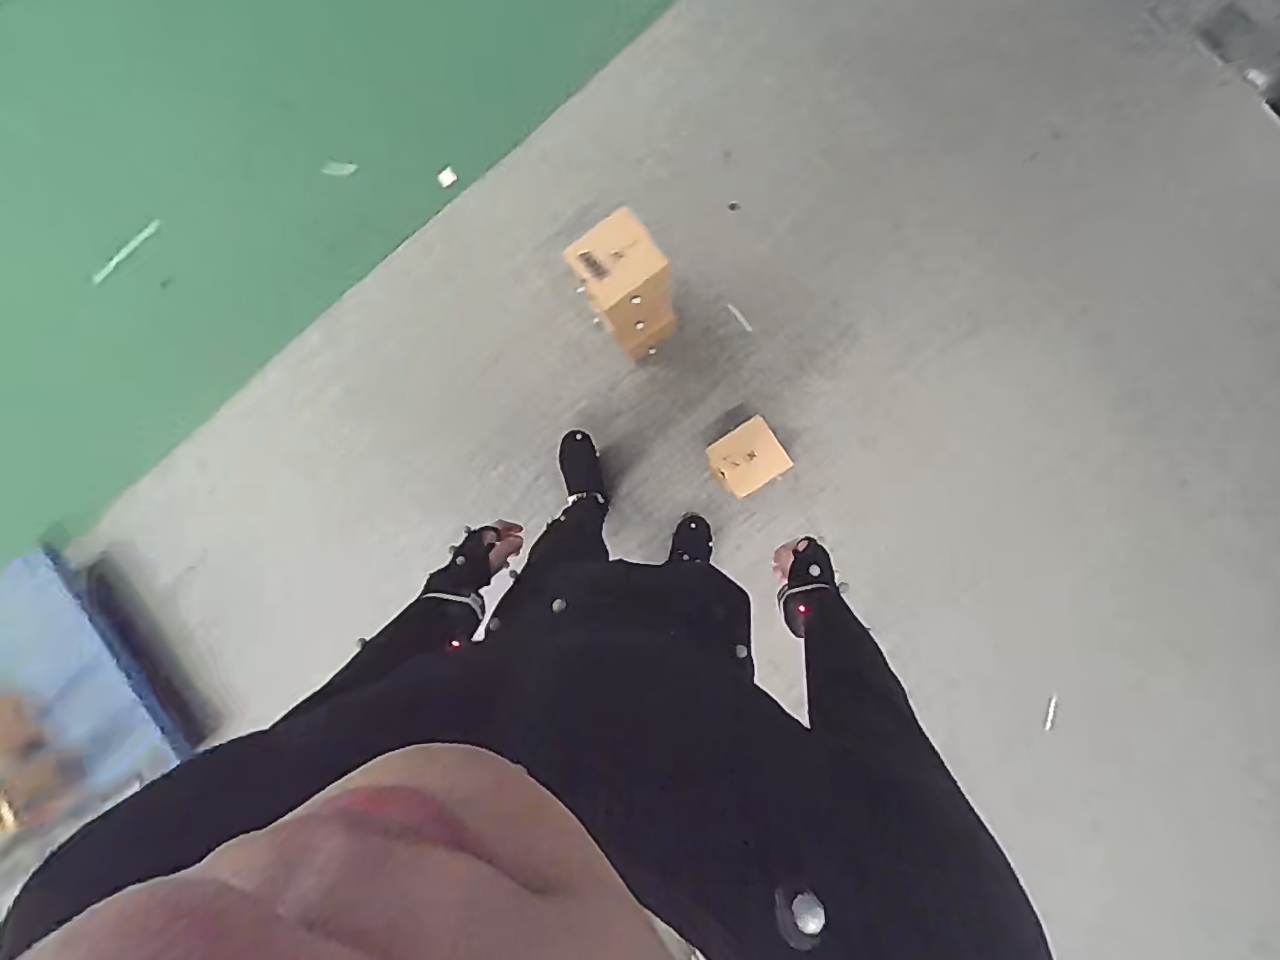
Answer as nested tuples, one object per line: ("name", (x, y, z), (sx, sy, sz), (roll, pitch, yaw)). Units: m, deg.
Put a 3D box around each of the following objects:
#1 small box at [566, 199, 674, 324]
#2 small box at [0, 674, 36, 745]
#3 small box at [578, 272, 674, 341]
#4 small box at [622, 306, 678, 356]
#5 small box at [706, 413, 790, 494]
("small box", (-0.036, -0.484, 1.230), (0.179, 0.176, 0.168), (-34, 86, 5))
("small box", (-1.967, 0.708, 1.590), (0.179, 0.176, 0.168), (-37, 86, 4))
("small box", (-0.028, -0.486, 1.395), (0.179, 0.176, 0.168), (-33, 86, 7))
("small box", (-0.003, -0.483, 1.556), (0.168, 0.176, 0.179), (-33, 86, 6))
("small box", (0.295, -0.071, 1.515), (0.179, 0.176, 0.168), (-26, 85, 7))
